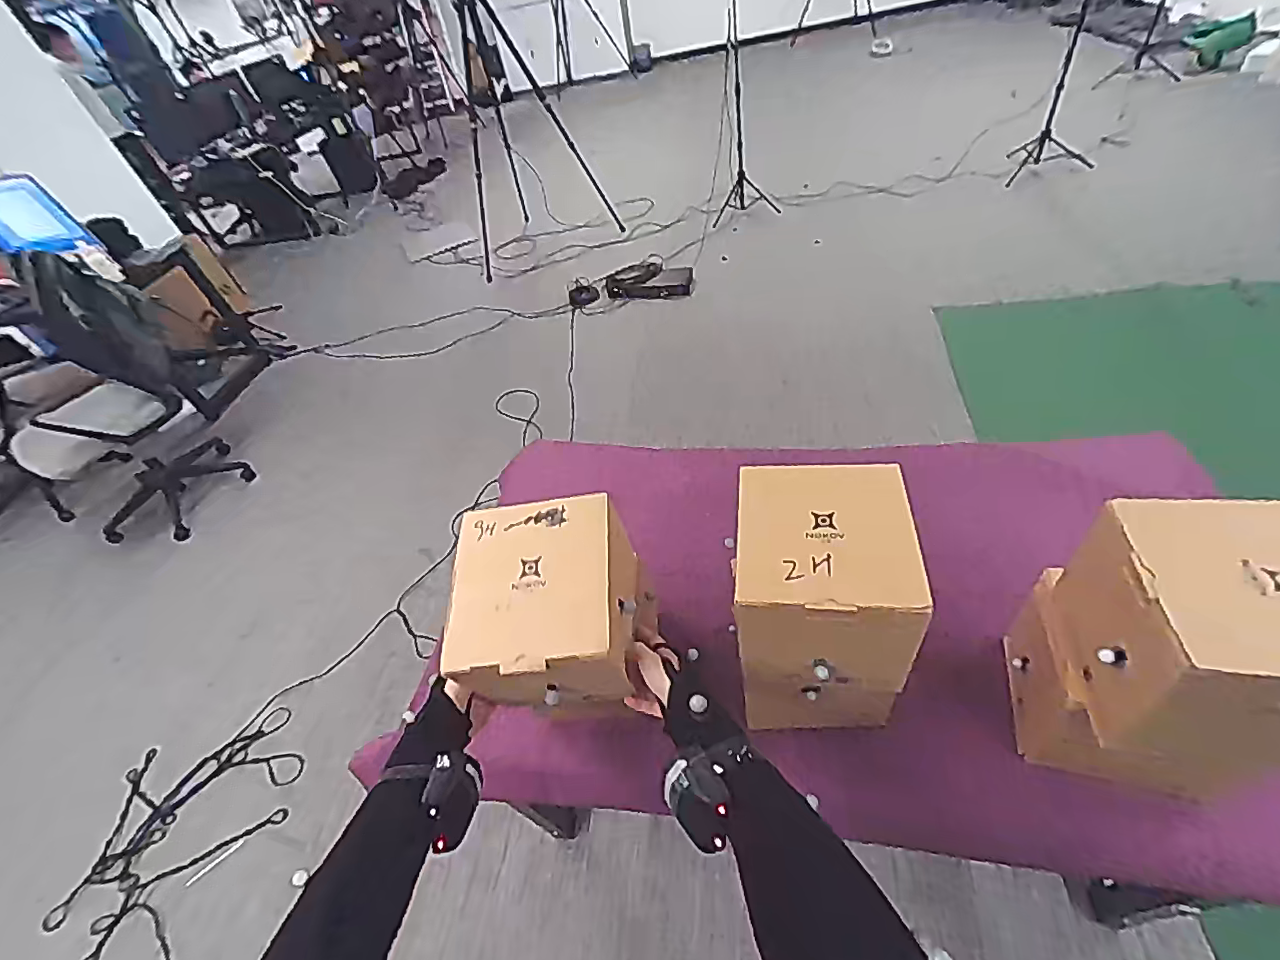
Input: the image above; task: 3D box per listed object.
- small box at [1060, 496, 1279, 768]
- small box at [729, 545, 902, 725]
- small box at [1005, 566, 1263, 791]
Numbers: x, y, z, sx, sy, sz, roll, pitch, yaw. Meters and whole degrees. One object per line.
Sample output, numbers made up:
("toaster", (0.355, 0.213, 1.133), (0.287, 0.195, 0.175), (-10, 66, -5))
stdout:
("small box", (0.503, 0.131, 0.469), (0.179, 0.176, 0.168), (1, 47, 17))
("small box", (0.214, 0.205, 0.701), (0.179, 0.176, 0.168), (-5, 46, 8))
("small box", (0.539, 0.222, 0.603), (0.179, 0.176, 0.168), (5, 48, 21))
